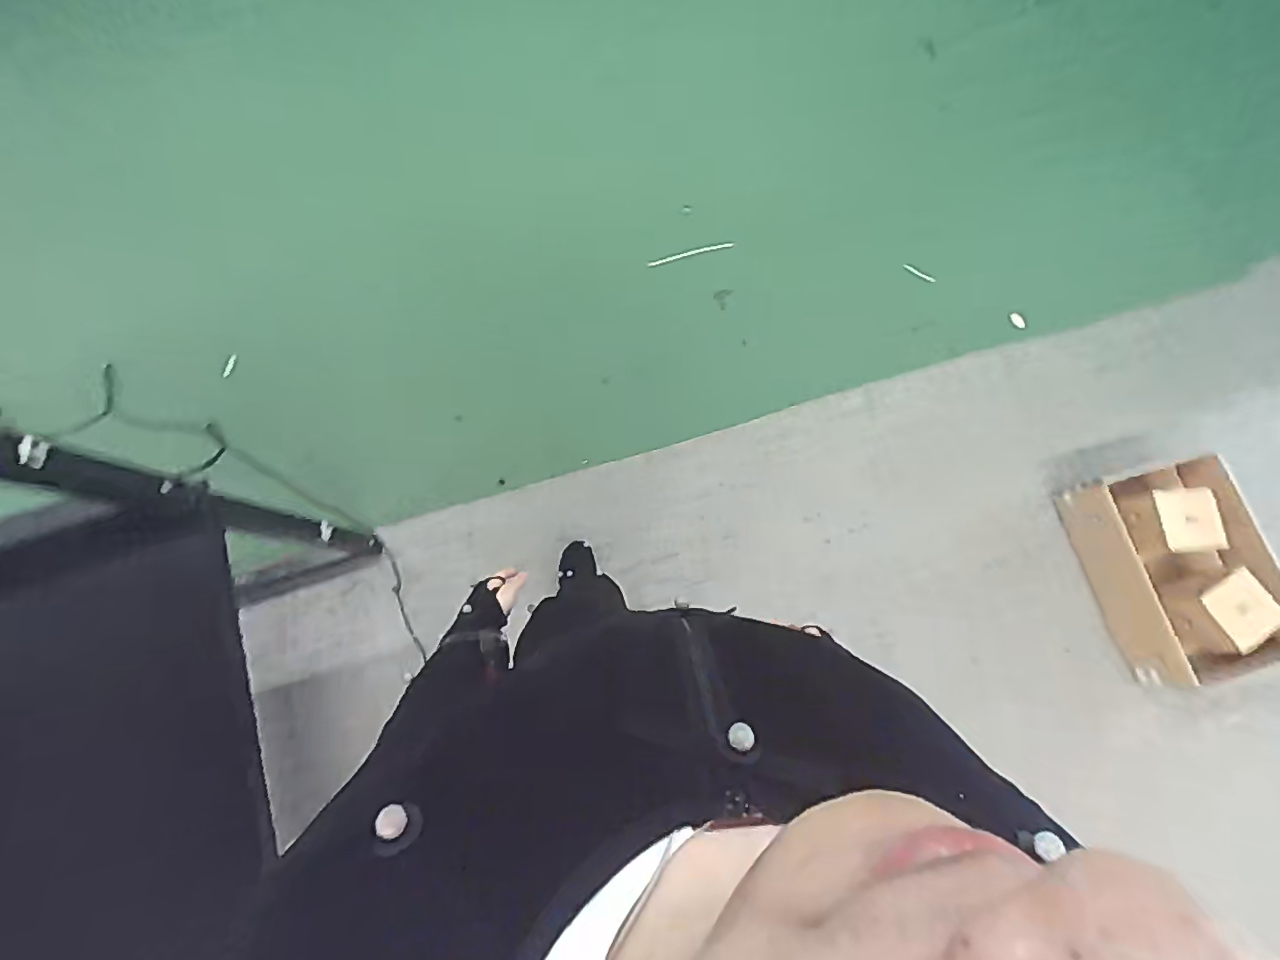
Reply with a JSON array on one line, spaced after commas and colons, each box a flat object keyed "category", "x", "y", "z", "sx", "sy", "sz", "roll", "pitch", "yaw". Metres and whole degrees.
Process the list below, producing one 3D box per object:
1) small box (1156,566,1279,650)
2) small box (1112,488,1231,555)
[{"category": "small box", "x": 1.640, "y": 0.365, "z": 1.537, "sx": 0.179, "sy": 0.176, "sz": 0.168, "roll": -31, "pitch": 79, "yaw": -8}, {"category": "small box", "x": 1.549, "y": 0.126, "z": 1.593, "sx": 0.179, "sy": 0.176, "sz": 0.168, "roll": -4, "pitch": 77, "yaw": -3}]
